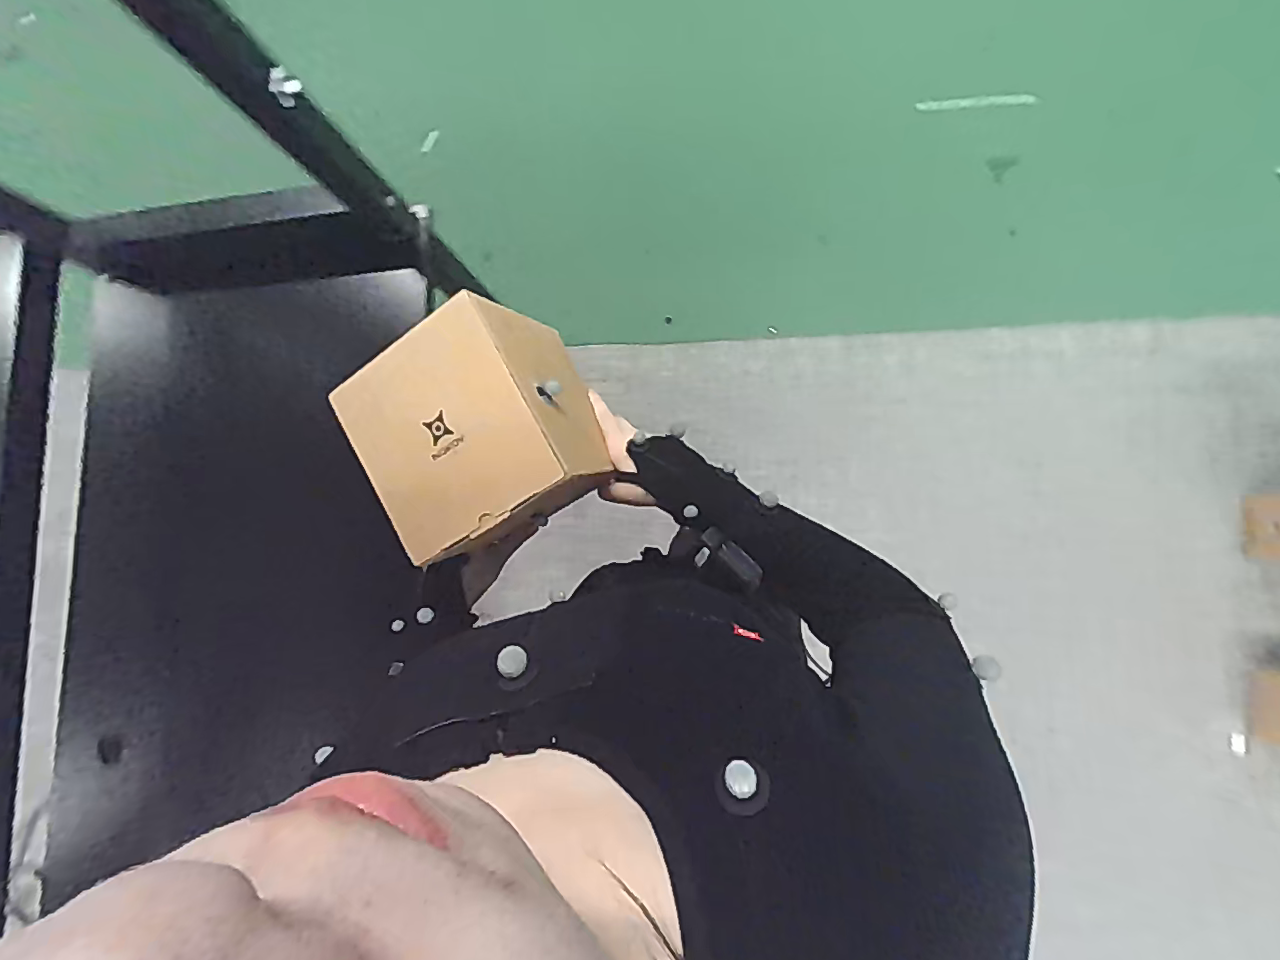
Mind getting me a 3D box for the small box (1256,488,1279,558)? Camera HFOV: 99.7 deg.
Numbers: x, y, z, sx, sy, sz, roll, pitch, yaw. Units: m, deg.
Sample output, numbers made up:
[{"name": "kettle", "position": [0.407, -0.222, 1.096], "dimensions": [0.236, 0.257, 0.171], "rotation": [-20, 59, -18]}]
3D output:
[{"name": "small box", "position": [1.569, 0.100, 1.226], "dimensions": [0.179, 0.176, 0.168], "rotation": [3, 85, 8]}]
